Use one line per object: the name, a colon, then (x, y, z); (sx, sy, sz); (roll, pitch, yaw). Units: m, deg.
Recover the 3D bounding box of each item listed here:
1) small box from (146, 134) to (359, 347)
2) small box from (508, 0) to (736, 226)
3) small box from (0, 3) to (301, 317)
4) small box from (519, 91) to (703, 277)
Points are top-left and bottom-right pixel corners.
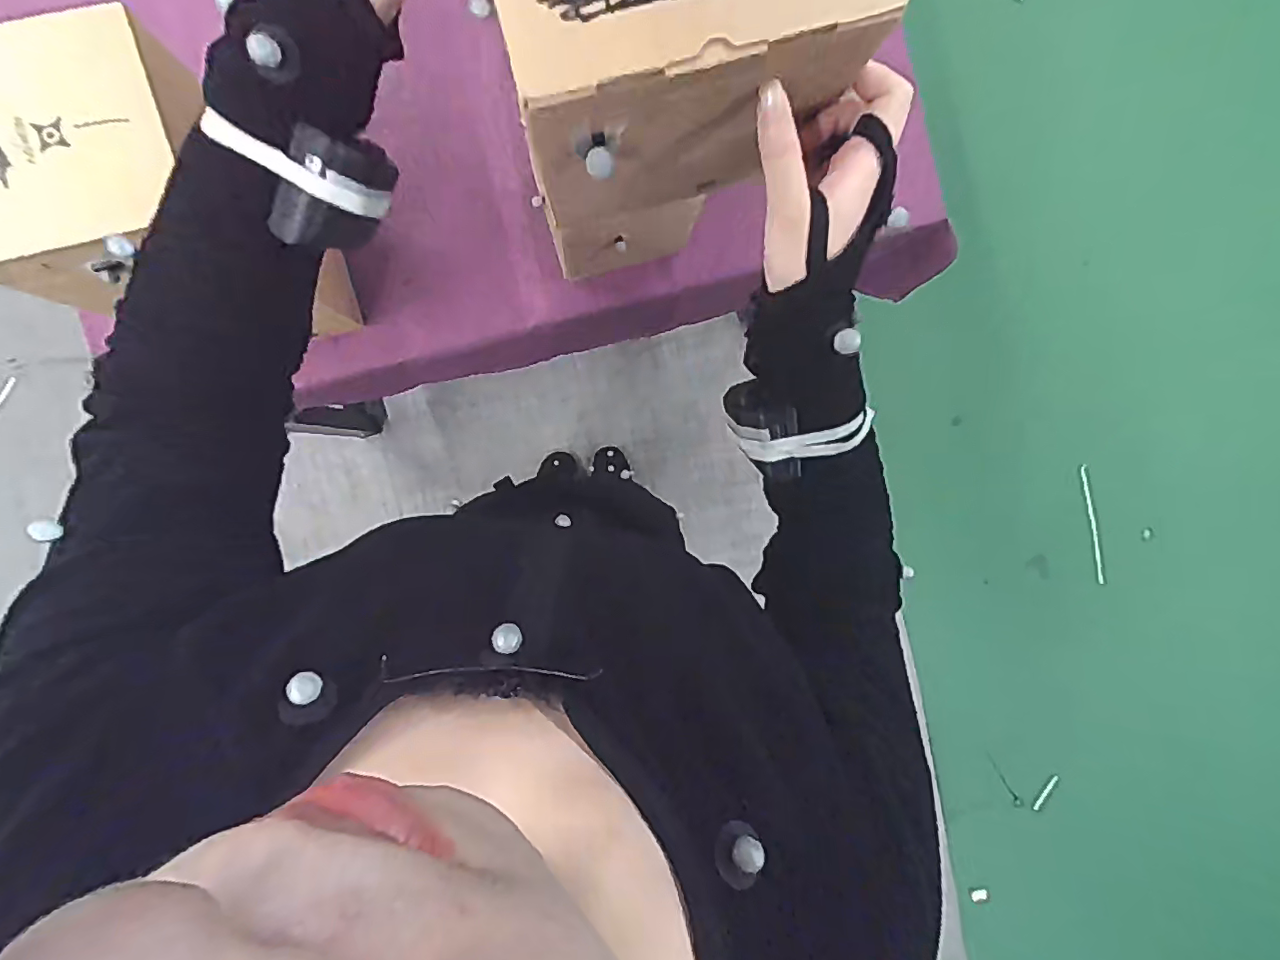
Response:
small box: (-0.468, -0.268, 0.649); (0.168, 0.176, 0.179); (-15, 93, -5)
small box: (-0.026, -0.380, 0.523); (0.168, 0.176, 0.179); (-15, 94, -5)
small box: (-0.453, -0.262, 0.485); (0.179, 0.176, 0.168); (-16, 94, -5)
small box: (-0.036, -0.379, 0.686); (0.179, 0.176, 0.168); (-16, 94, -4)
